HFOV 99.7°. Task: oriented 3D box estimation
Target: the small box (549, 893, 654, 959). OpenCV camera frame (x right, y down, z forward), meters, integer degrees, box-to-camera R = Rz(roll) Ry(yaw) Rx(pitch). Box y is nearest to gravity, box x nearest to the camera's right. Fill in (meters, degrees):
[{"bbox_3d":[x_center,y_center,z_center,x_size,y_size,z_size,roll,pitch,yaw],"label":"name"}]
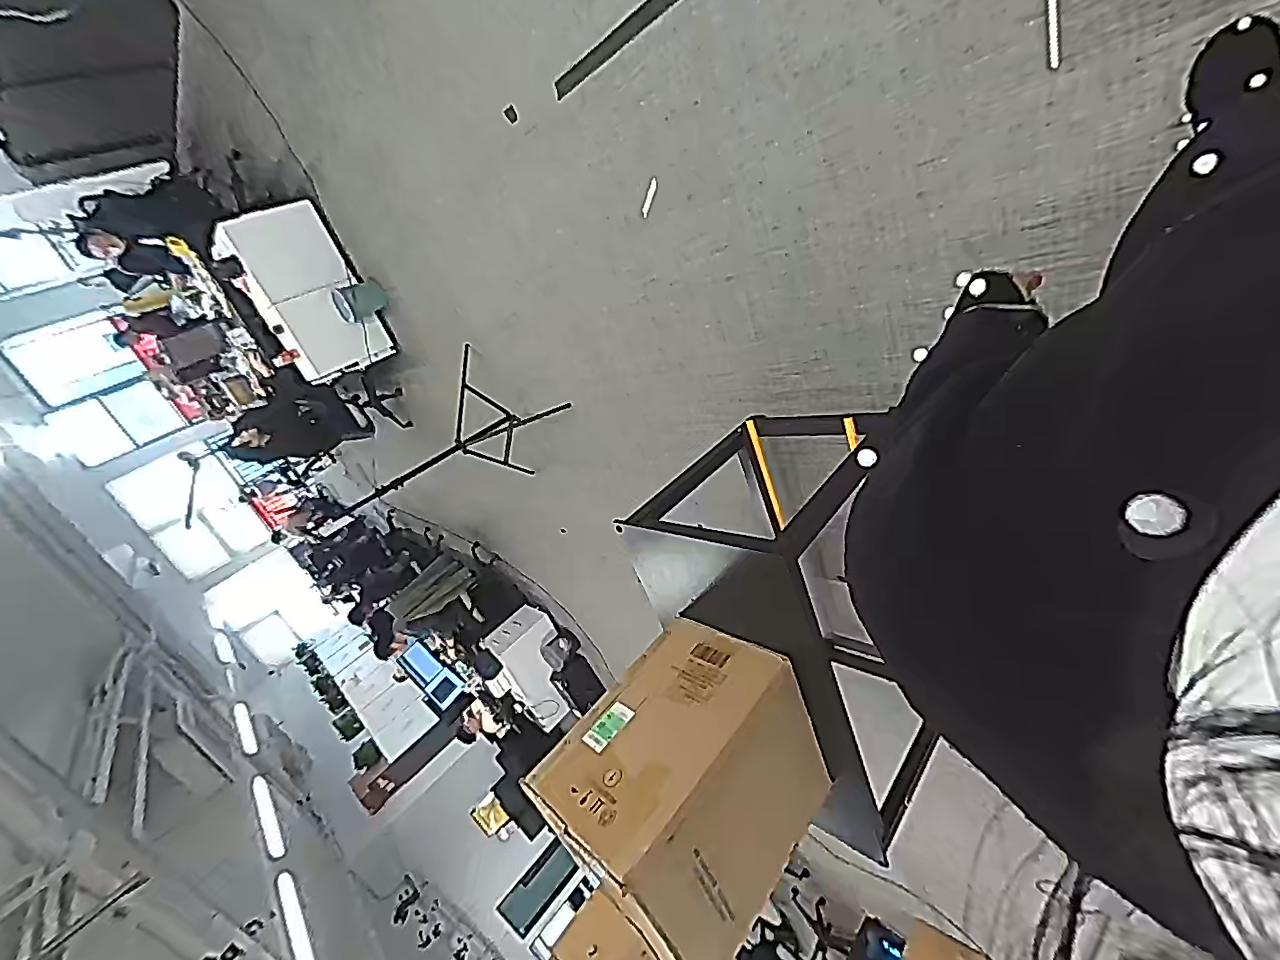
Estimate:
[{"bbox_3d":[-0.083,1.165,1.312,0.179,0.176,0.168,5,124,49],"label":"small box"}]
